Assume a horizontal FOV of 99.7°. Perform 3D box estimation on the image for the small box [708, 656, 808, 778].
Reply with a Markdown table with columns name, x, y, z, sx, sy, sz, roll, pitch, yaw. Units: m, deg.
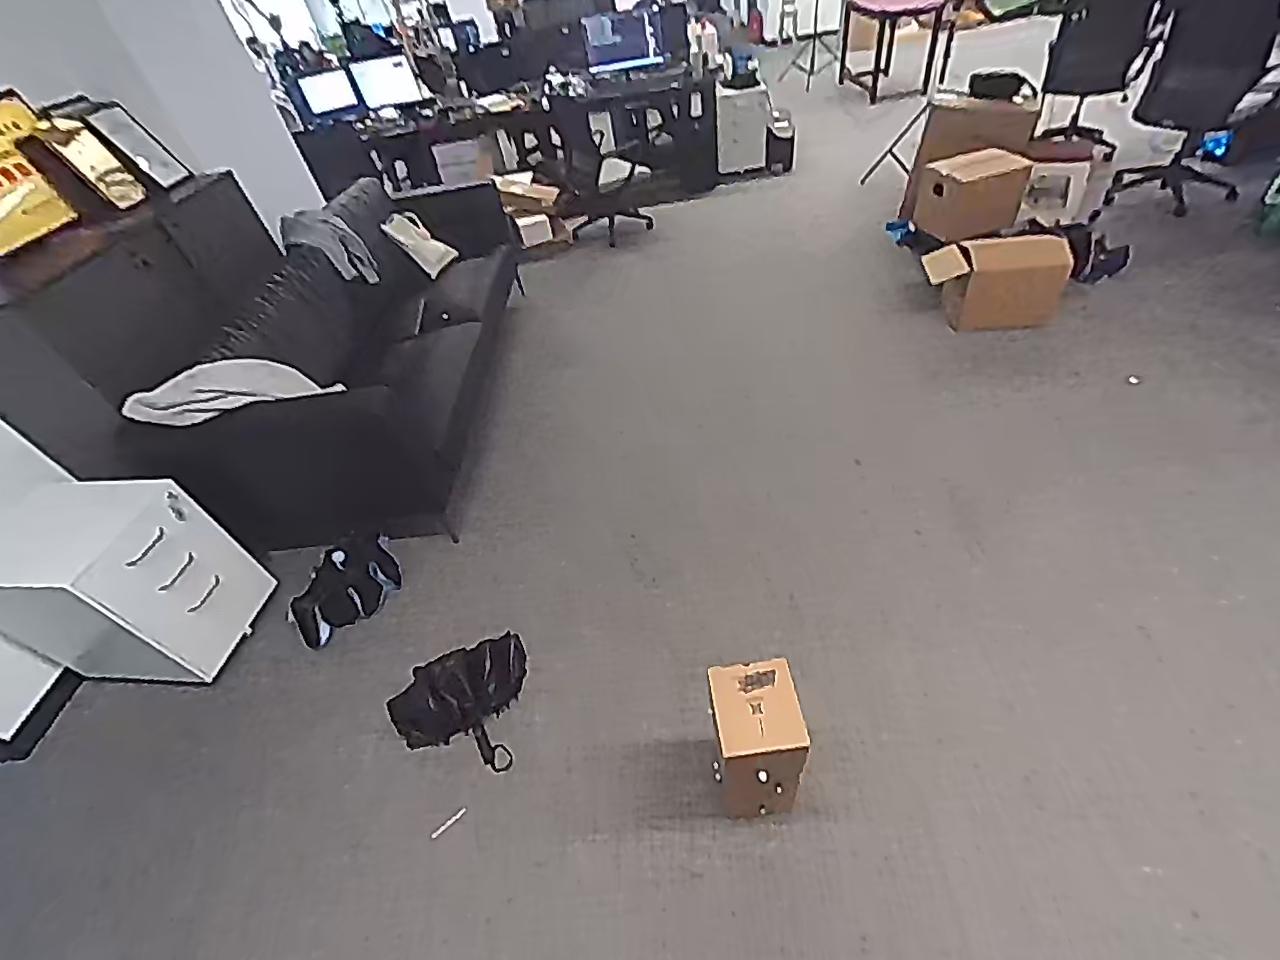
| name | x | y | z | sx | sy | sz | roll | pitch | yaw |
| --- | --- | --- | --- | --- | --- | --- | --- | --- | --- |
| small box | 0.235 | 0.493 | 1.124 | 0.168 | 0.176 | 0.179 | -9 | 47 | 1 |

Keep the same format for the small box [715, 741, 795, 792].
| name | x | y | z | sx | sy | sz | roll | pitch | yaw |
| --- | --- | --- | --- | --- | --- | --- | --- | --- | --- |
| small box | 0.257 | 0.601 | 1.245 | 0.168 | 0.176 | 0.179 | -6 | 44 | 4 |
